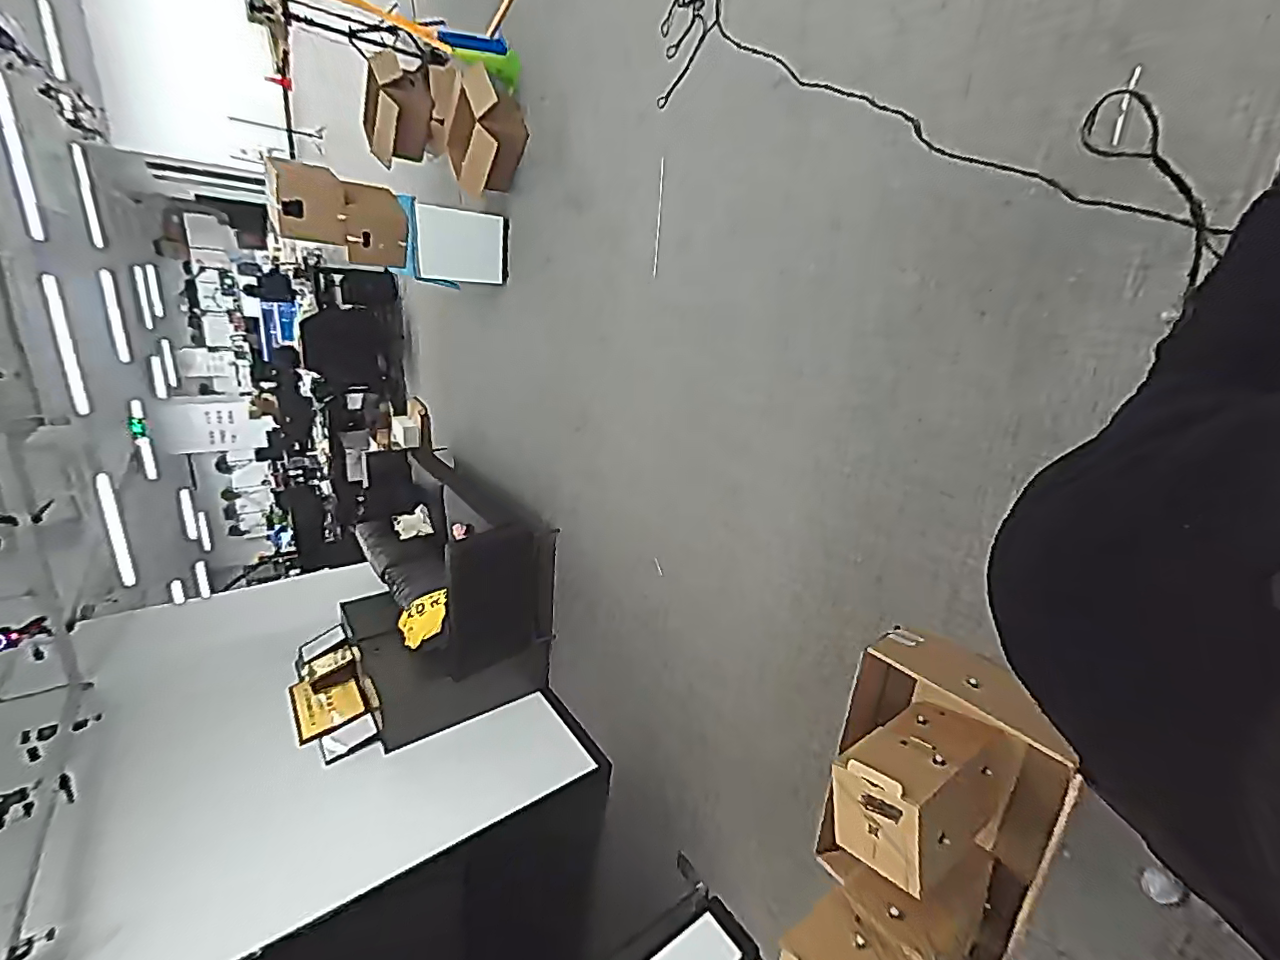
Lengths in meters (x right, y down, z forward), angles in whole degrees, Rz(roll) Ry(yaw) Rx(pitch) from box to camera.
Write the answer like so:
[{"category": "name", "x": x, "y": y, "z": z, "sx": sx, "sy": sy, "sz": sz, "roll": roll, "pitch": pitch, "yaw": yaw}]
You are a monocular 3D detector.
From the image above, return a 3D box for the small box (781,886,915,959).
[{"category": "small box", "x": 0.366, "y": 0.893, "z": 0.965, "sx": 0.168, "sy": 0.176, "sz": 0.179, "roll": 21, "pitch": 113, "yaw": 48}]

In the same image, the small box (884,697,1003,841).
[{"category": "small box", "x": 0.621, "y": 0.576, "z": 1.110, "sx": 0.168, "sy": 0.176, "sz": 0.179, "roll": 6, "pitch": 103, "yaw": 53}]

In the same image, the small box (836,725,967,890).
[{"category": "small box", "x": 0.489, "y": 0.595, "z": 1.014, "sx": 0.168, "sy": 0.176, "sz": 0.179, "roll": 6, "pitch": 103, "yaw": 54}]

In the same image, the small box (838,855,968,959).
[{"category": "small box", "x": 0.501, "y": 0.863, "z": 1.056, "sx": 0.179, "sy": 0.176, "sz": 0.168, "roll": 19, "pitch": 112, "yaw": 49}]
